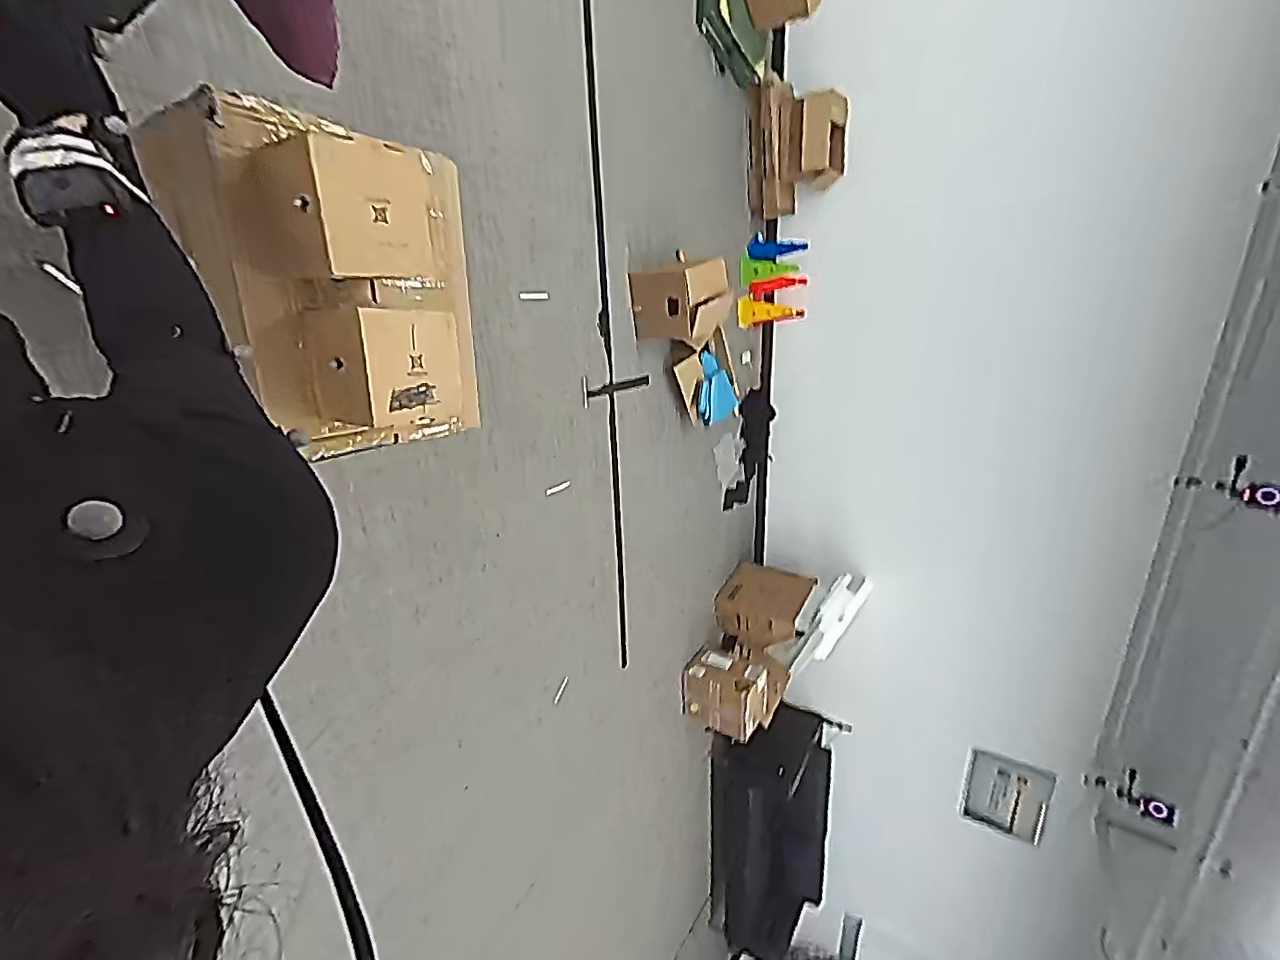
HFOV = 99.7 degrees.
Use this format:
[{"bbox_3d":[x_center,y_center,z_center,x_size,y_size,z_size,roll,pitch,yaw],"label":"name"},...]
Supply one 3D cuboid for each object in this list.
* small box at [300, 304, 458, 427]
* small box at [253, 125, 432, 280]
[{"bbox_3d":[-0.424,-0.188,0.886,0.168,0.176,0.179,-19,113,-54],"label":"small box"},{"bbox_3d":[-0.439,-0.396,0.805,0.168,0.176,0.179,-24,120,-51],"label":"small box"}]
